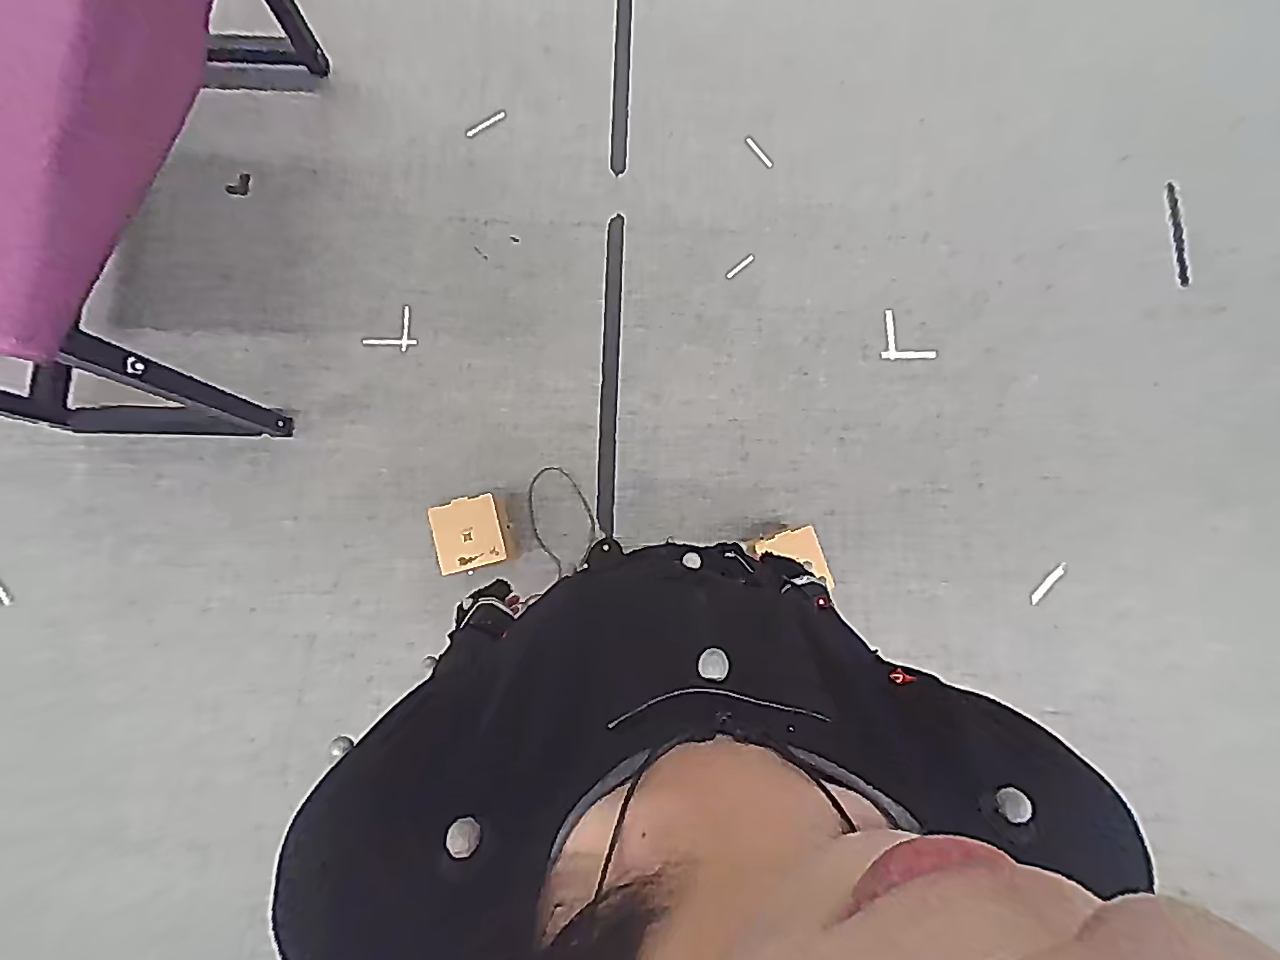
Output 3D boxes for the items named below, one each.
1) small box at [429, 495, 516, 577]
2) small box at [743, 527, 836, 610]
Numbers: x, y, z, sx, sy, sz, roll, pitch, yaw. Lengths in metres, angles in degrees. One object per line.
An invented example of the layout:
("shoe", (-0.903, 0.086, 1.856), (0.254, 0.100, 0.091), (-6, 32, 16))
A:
("small box", (-0.435, 0.152, 1.422), (0.168, 0.176, 0.179), (-15, 83, -6))
("small box", (0.394, 0.237, 1.463), (0.168, 0.176, 0.179), (-19, 85, -5))
